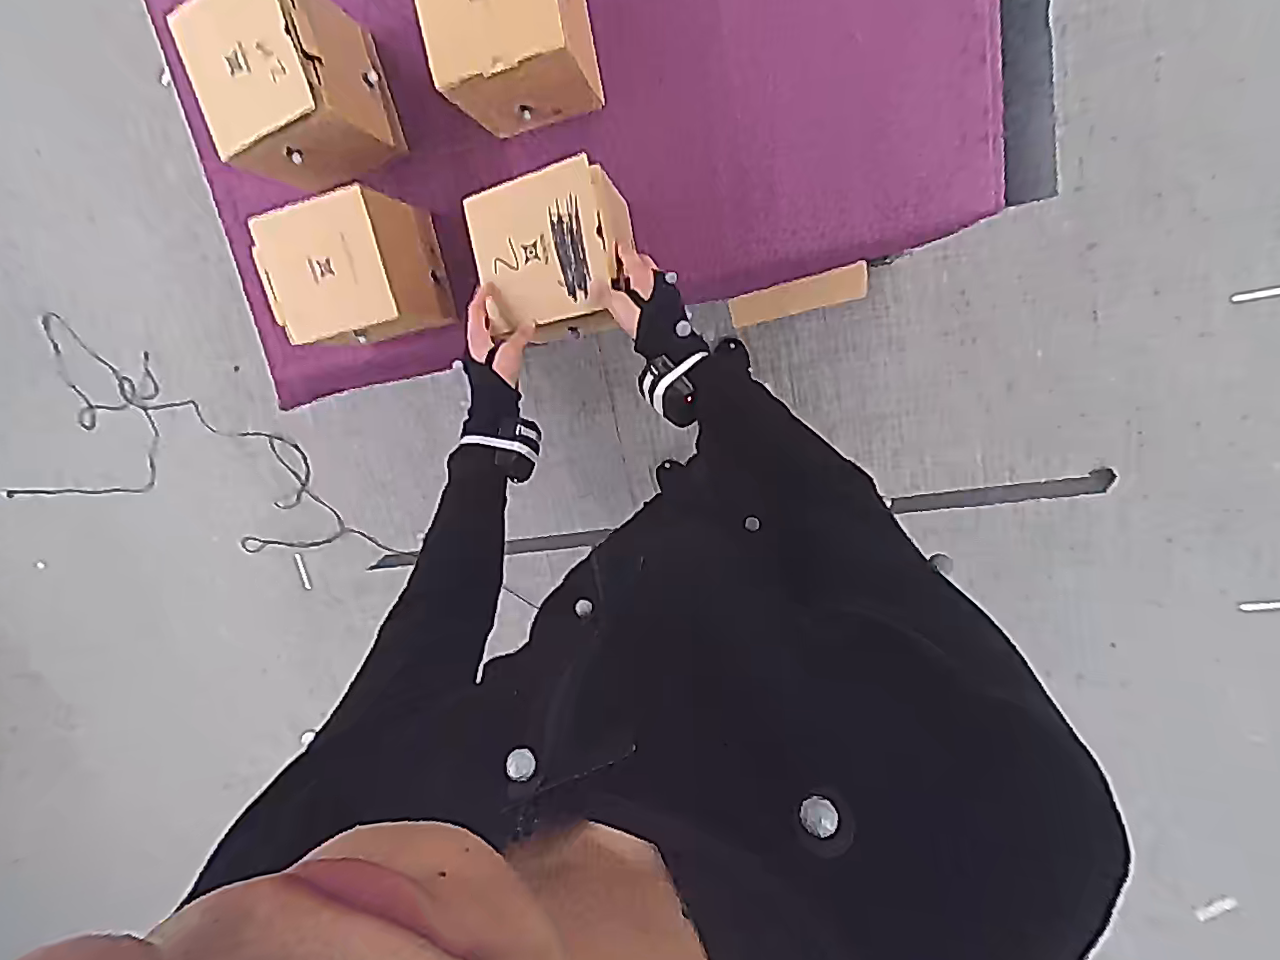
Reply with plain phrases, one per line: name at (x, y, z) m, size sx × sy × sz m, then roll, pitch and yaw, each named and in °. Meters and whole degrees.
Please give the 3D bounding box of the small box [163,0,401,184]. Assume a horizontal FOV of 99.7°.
small box at (-0.464, -0.525, 0.728) m, size 0.179 × 0.176 × 0.168 m, roll -12°, pitch 103°, yaw 13°

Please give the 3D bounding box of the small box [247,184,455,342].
small box at (-0.402, -0.297, 0.780) m, size 0.179 × 0.176 × 0.168 m, roll -9°, pitch 103°, yaw 12°
